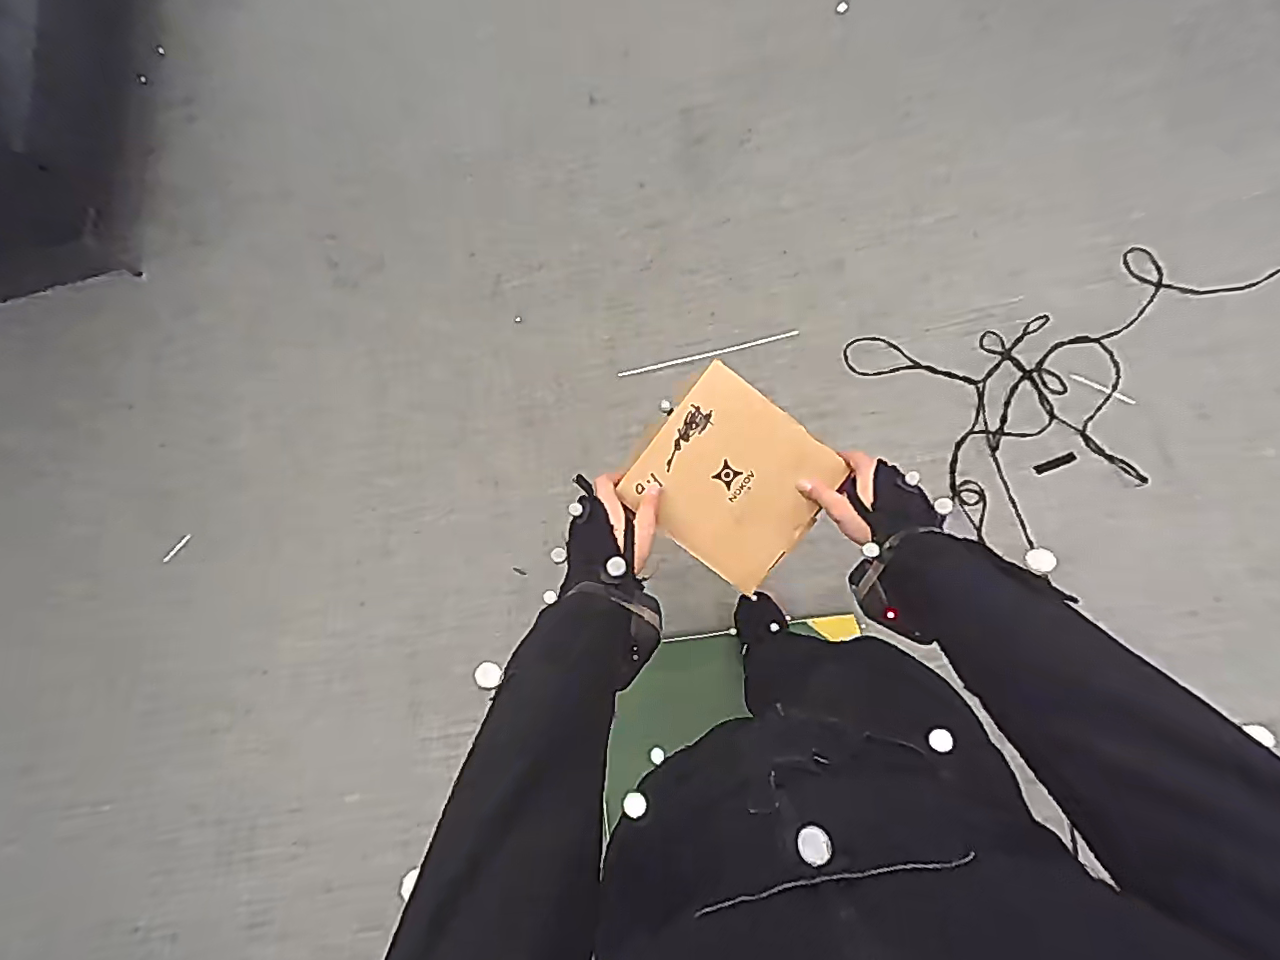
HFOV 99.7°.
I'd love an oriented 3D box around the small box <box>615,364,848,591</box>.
[{"bbox_3d":[0.089,-0.010,0.613,0.179,0.176,0.168,38,94,-5],"label":"small box"}]
